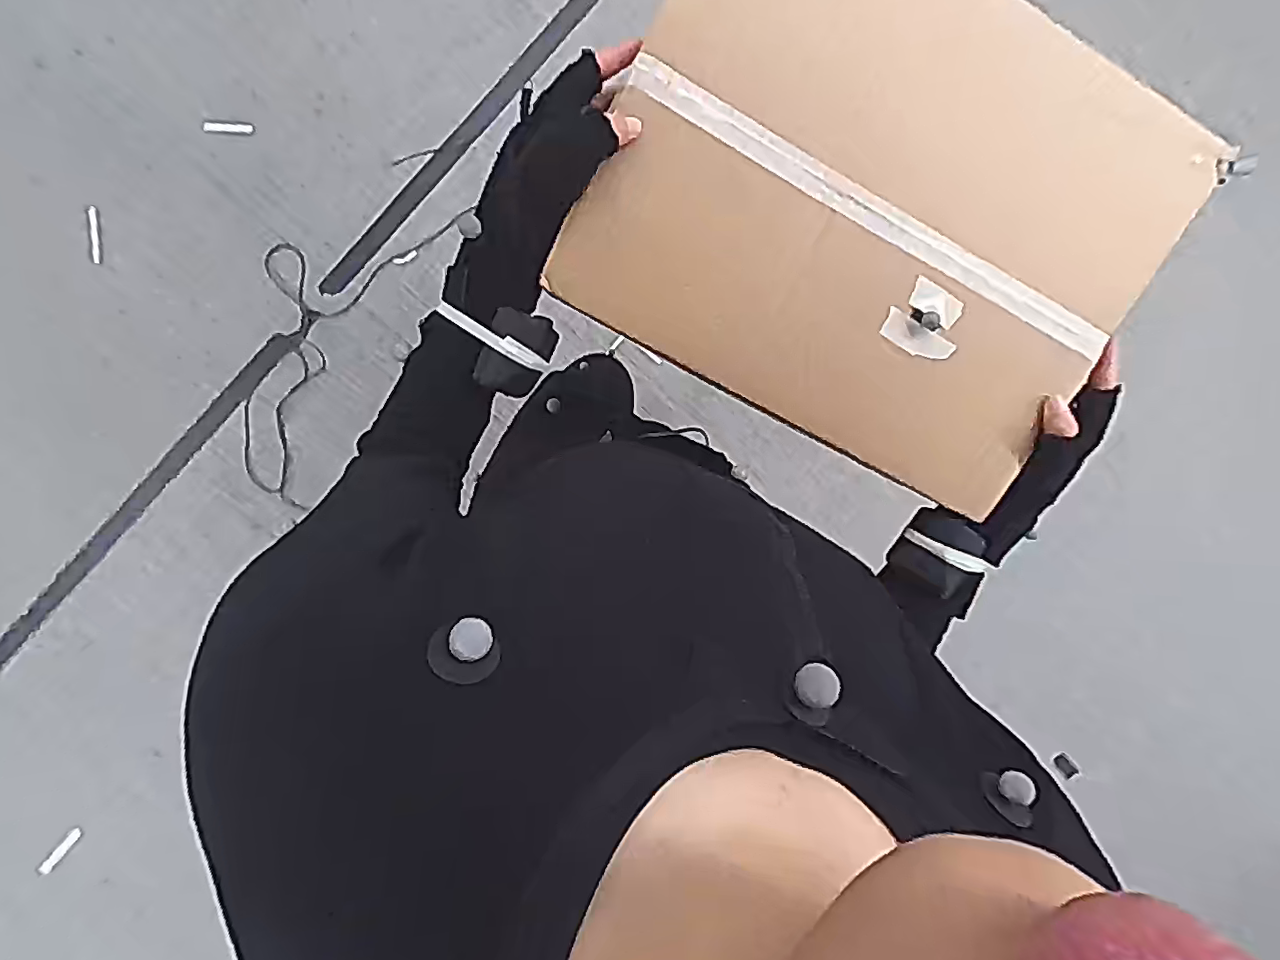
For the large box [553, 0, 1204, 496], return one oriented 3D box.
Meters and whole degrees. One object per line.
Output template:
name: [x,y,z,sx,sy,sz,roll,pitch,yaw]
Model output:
large box: [0.169,-0.237,0.547,0.408,0.320,0.320,26,103,-8]
